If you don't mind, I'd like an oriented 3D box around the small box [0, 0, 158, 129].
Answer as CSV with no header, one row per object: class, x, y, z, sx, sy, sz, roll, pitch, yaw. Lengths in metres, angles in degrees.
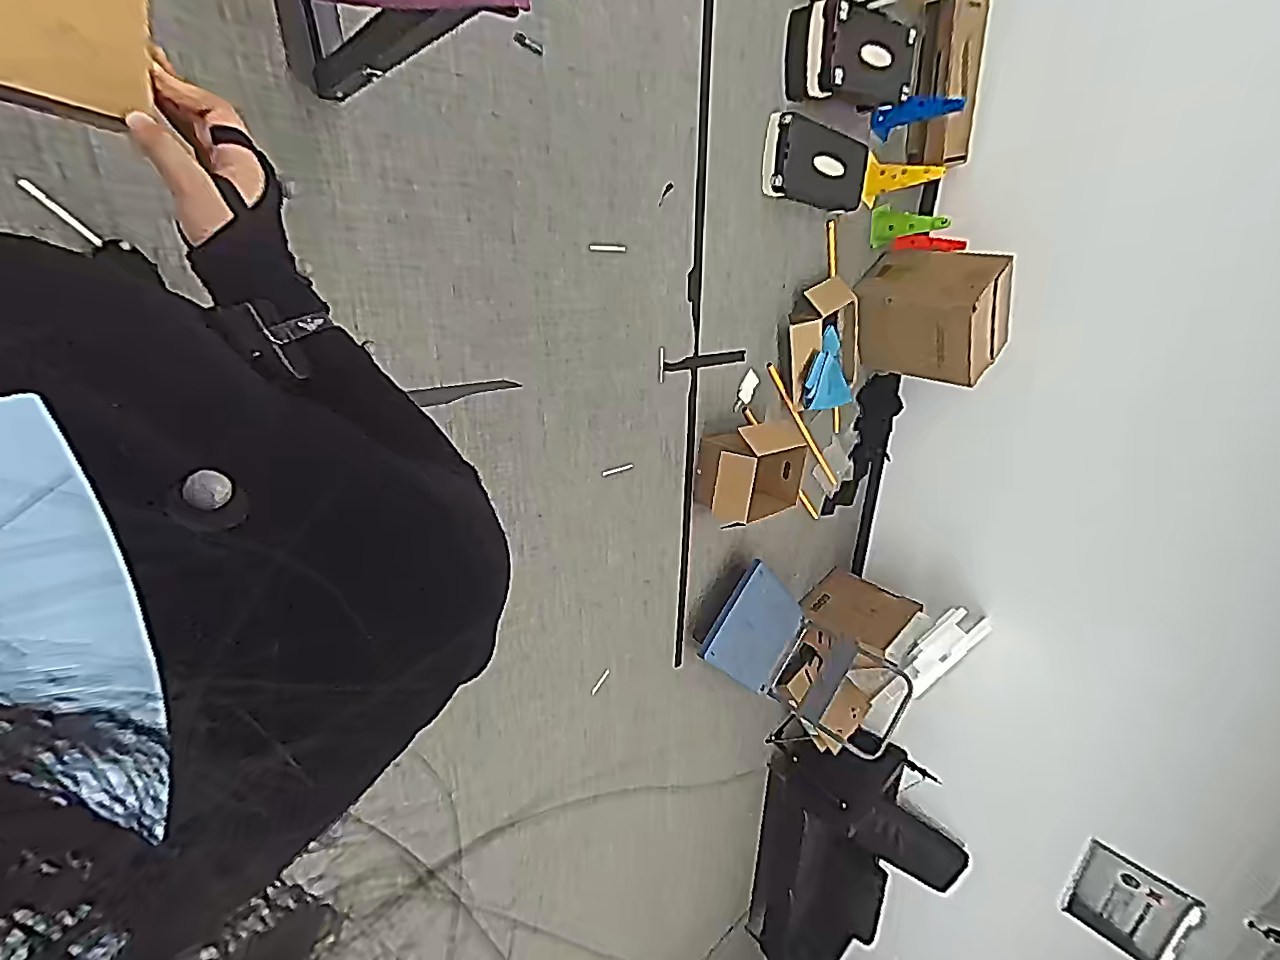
small box,-0.421,-0.351,0.345,0.168,0.176,0.179,-4,114,-44
